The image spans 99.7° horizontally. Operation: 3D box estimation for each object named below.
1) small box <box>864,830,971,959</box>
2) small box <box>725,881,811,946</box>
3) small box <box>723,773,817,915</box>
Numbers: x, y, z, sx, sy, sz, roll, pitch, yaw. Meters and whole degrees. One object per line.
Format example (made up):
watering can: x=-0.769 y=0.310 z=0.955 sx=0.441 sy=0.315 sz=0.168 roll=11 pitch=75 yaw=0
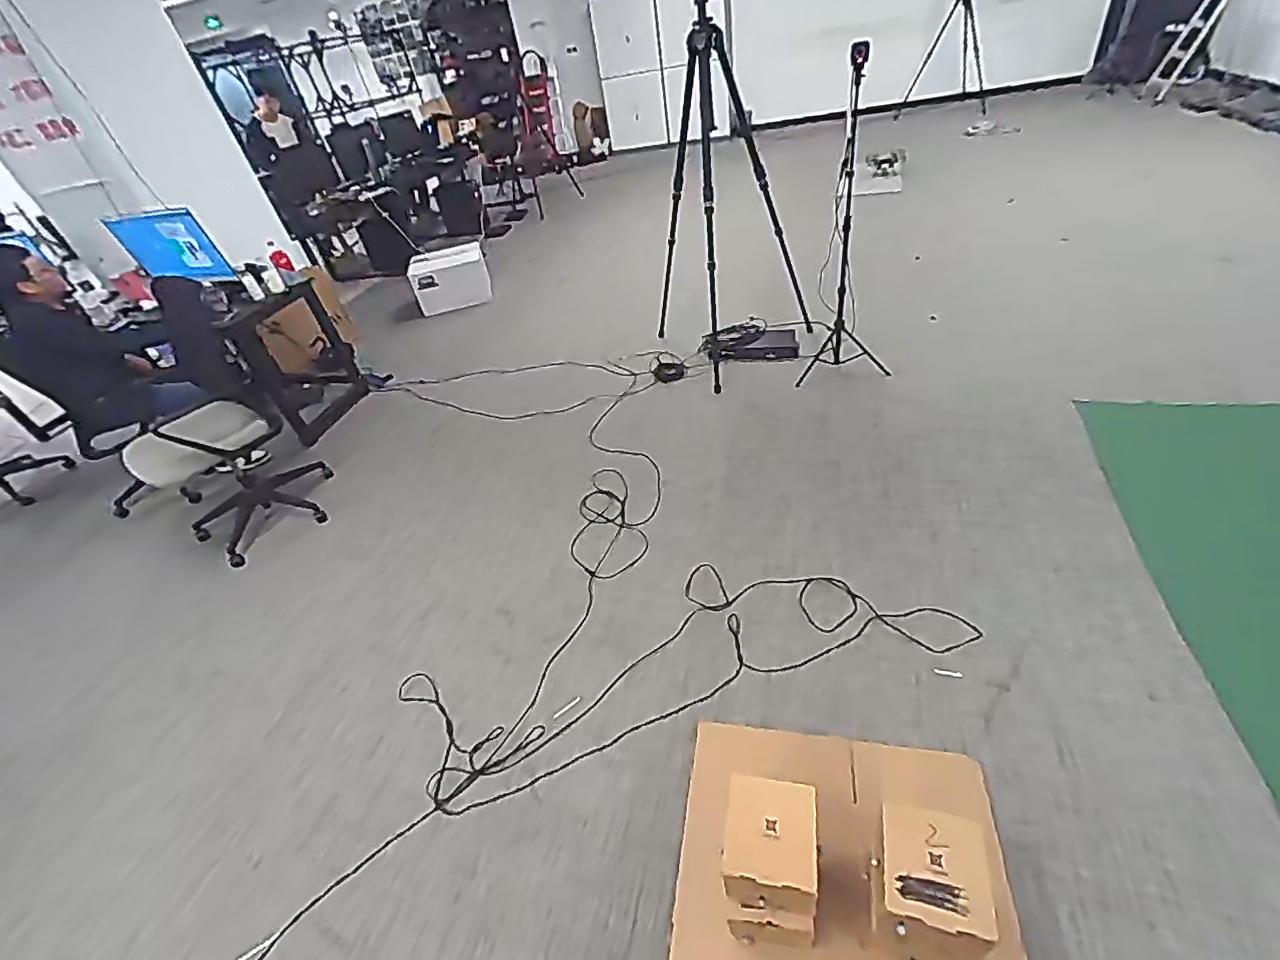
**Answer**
small box: x=0.545 y=0.848 z=1.086 sx=0.168 sy=0.176 sz=0.179 roll=3 pitch=43 yaw=19
small box: x=0.273 y=0.853 z=1.147 sx=0.168 sy=0.176 sz=0.179 roll=-1 pitch=41 yaw=14
small box: x=0.257 y=0.712 z=1.062 sx=0.168 sy=0.176 sz=0.179 roll=1 pitch=41 yaw=16
